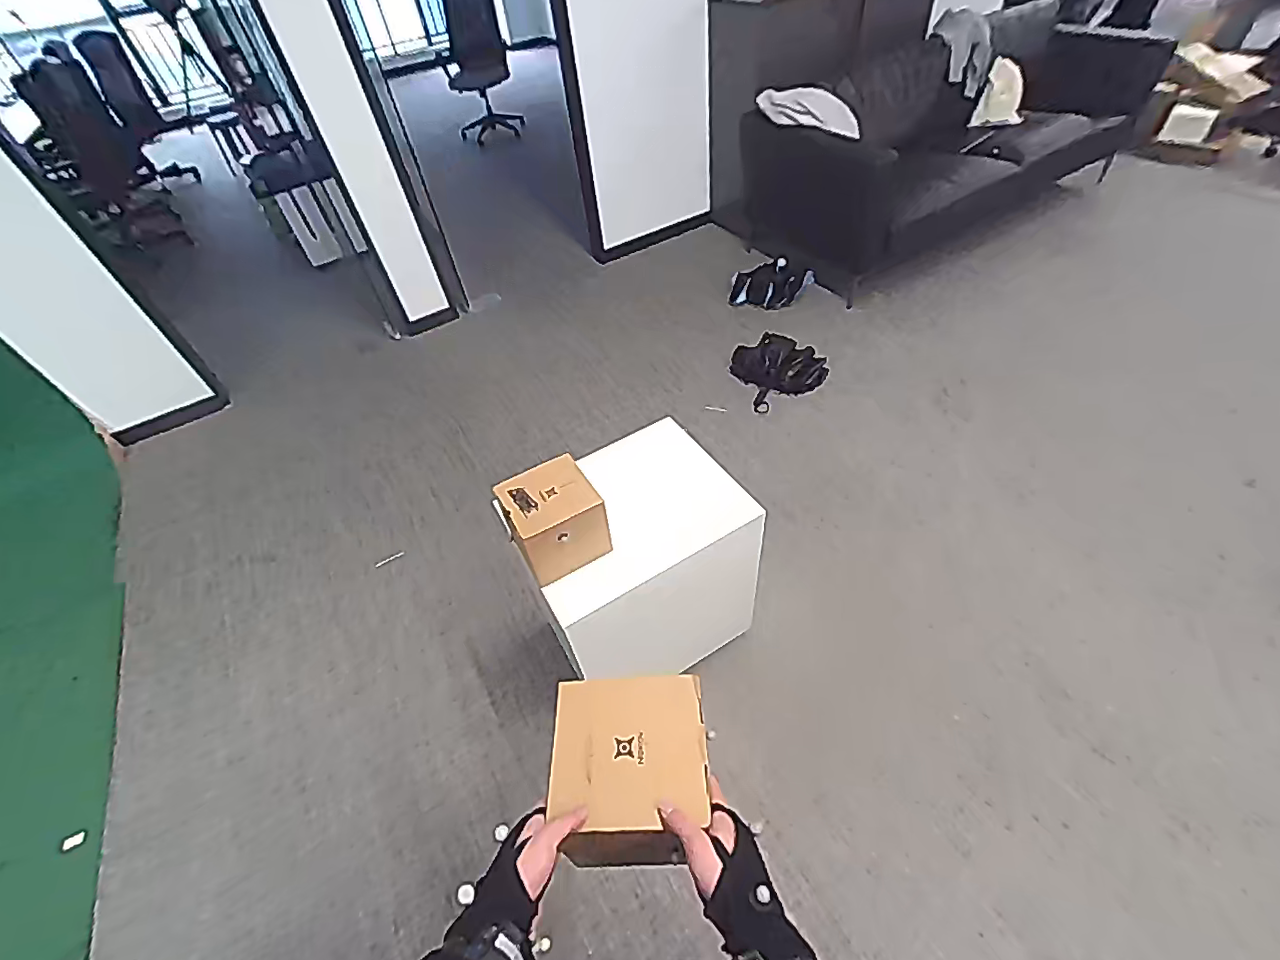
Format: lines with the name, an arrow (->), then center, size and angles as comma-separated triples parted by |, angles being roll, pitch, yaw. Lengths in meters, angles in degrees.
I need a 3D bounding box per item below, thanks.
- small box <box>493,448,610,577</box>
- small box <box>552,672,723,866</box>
small box -> -0.177, 0.070, 1.120 | 0.179, 0.176, 0.168 | -26, 52, -18
small box -> 0.004, 0.353, 0.658 | 0.179, 0.176, 0.168 | -6, 44, 4
